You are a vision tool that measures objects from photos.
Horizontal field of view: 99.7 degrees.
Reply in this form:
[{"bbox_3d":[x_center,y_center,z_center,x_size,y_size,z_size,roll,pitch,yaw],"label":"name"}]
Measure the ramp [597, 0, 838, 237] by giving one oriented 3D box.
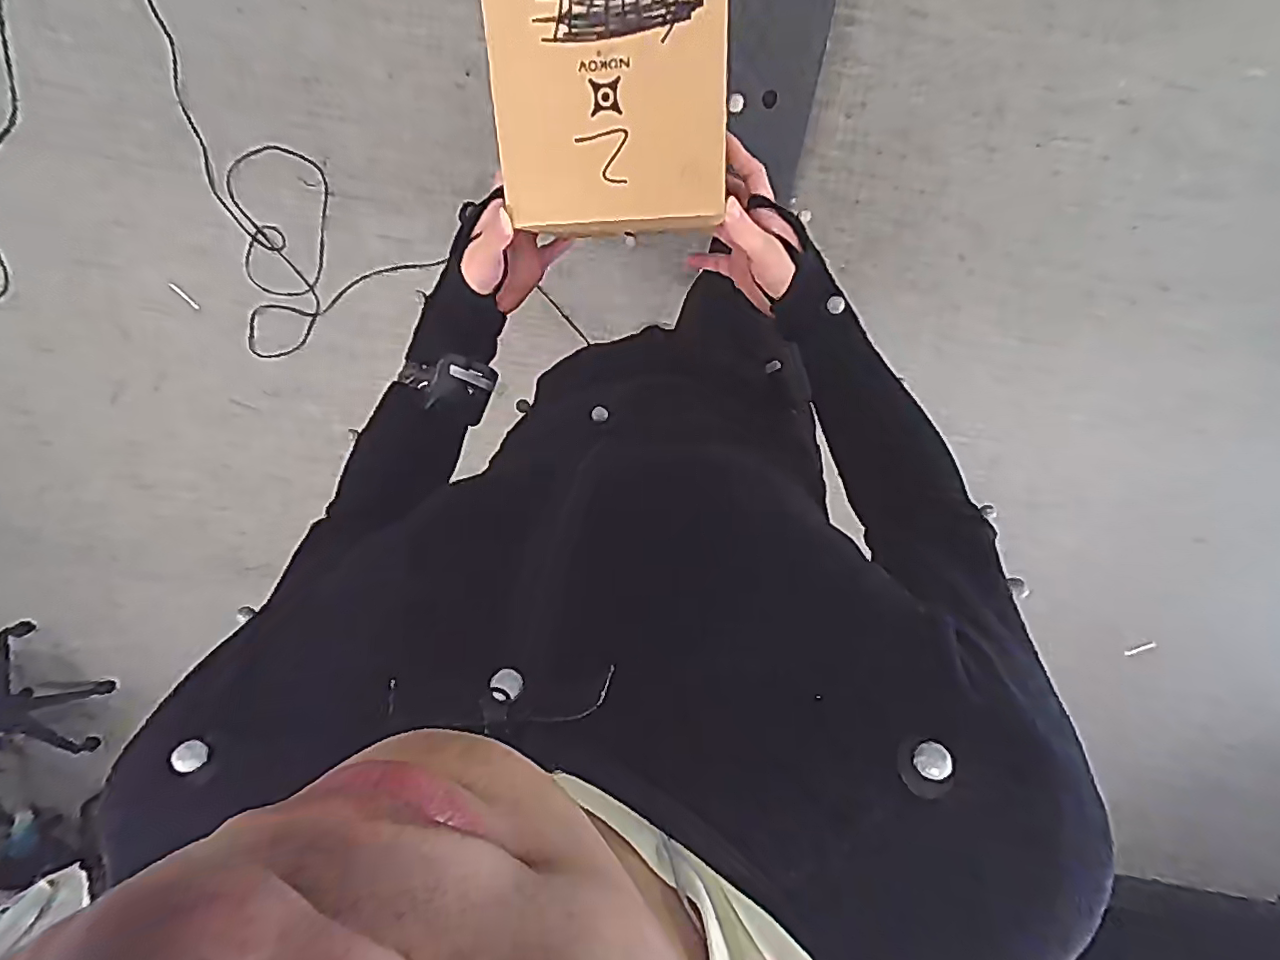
[{"bbox_3d":[0.184,-1.075,1.133,0.509,0.206,0.991,7,112,1],"label":"ramp"}]
